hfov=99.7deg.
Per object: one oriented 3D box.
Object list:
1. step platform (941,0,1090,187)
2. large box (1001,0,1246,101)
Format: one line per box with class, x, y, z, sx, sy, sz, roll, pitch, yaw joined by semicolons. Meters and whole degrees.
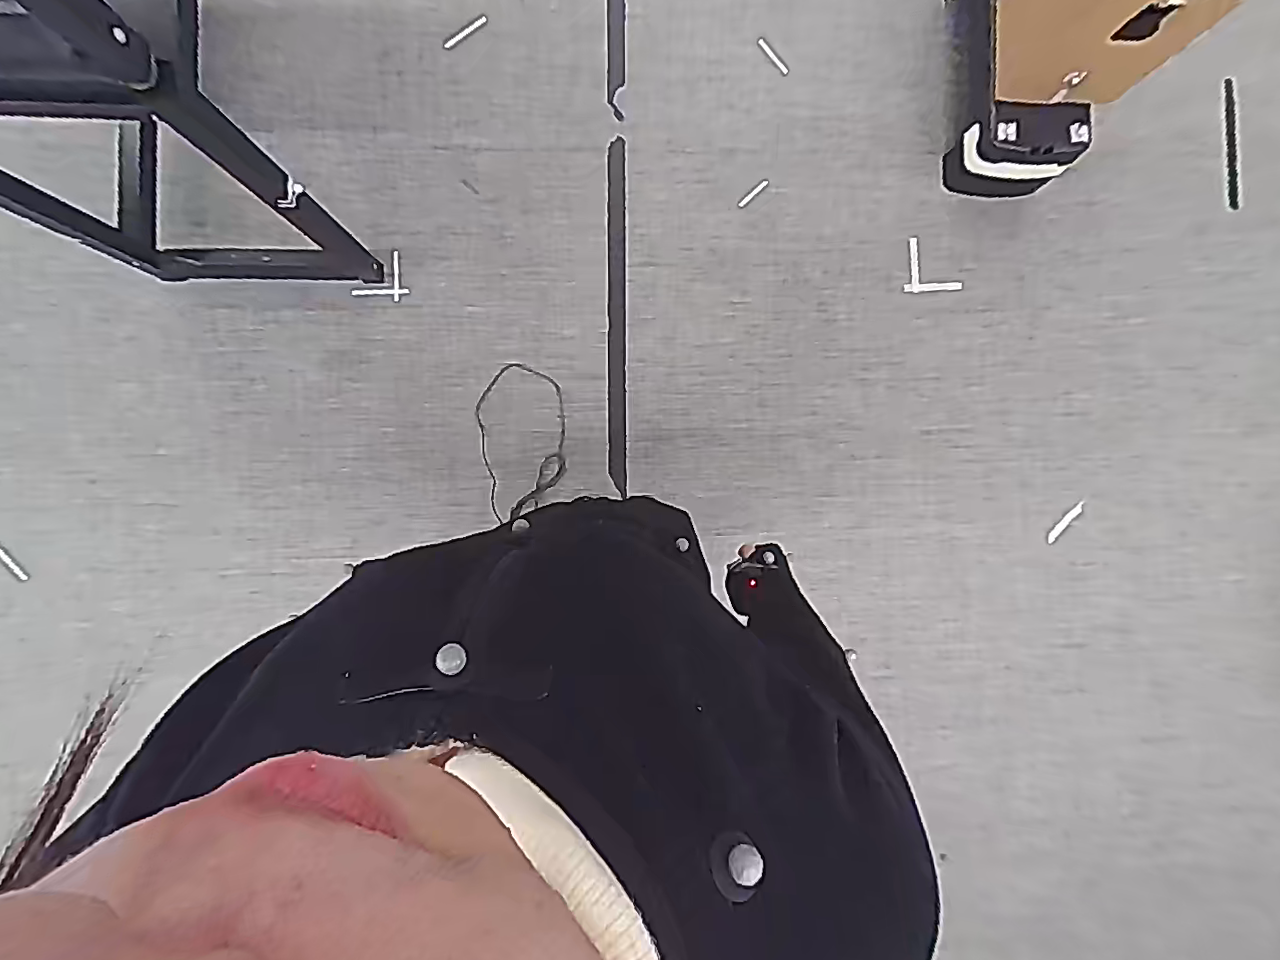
step platform;1.031;-1.186;1.461;0.286;0.204;0.684;5;89;-3
large box;1.069;-1.158;1.225;0.320;0.320;0.408;0;89;-4
